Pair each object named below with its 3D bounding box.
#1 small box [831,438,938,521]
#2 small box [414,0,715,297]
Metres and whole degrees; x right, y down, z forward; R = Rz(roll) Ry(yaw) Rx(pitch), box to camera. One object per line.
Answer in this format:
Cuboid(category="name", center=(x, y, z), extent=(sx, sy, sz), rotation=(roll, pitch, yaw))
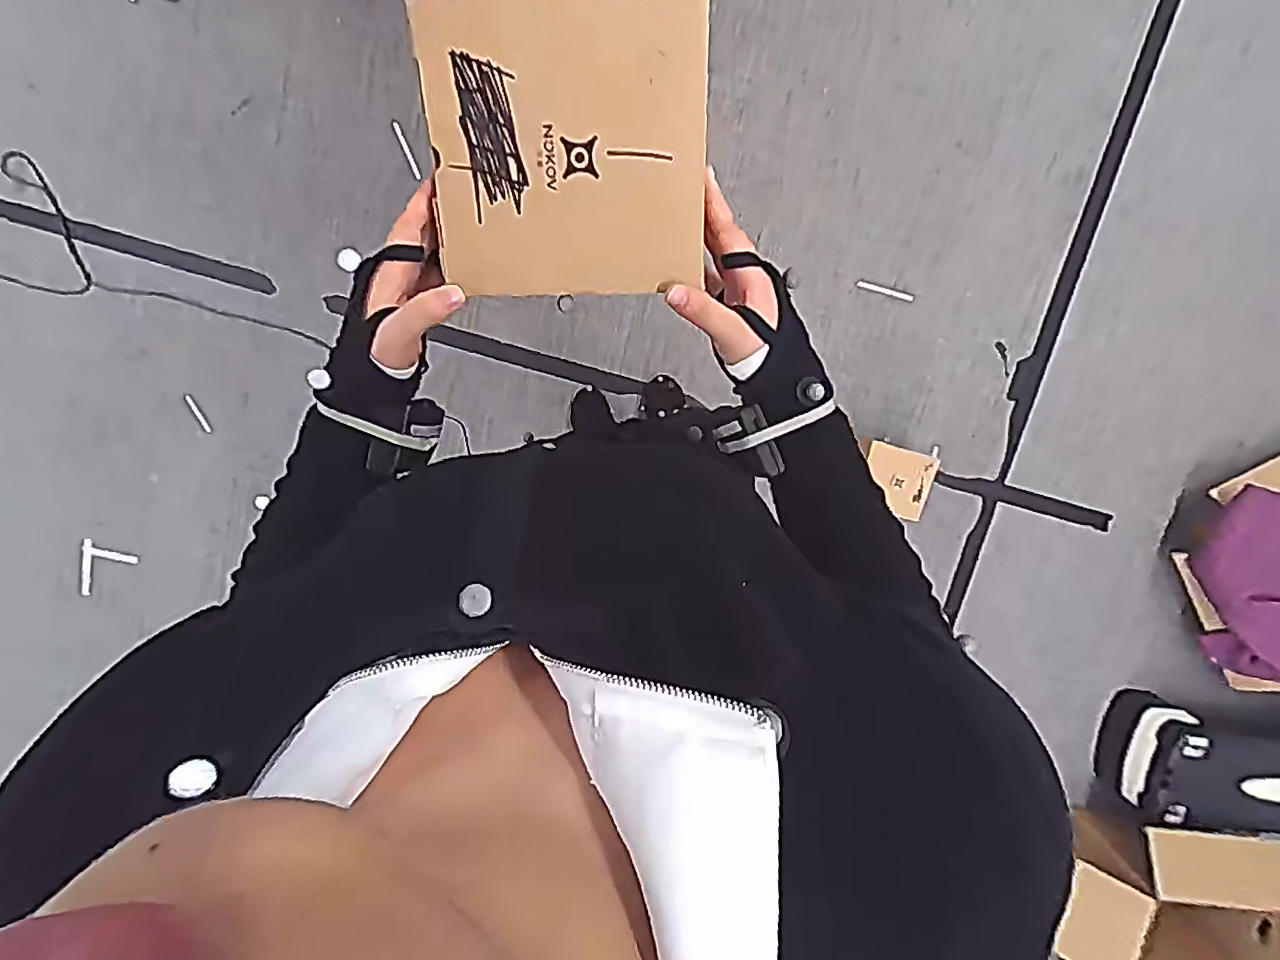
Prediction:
Cuboid(category="small box", center=(0.622, -0.009, 1.402), extent=(0.179, 0.176, 0.168), rotation=(16, 100, -1))
Cuboid(category="small box", center=(-0.042, -0.228, 0.410), extent=(0.179, 0.176, 0.168), rotation=(-1, 112, 1))
